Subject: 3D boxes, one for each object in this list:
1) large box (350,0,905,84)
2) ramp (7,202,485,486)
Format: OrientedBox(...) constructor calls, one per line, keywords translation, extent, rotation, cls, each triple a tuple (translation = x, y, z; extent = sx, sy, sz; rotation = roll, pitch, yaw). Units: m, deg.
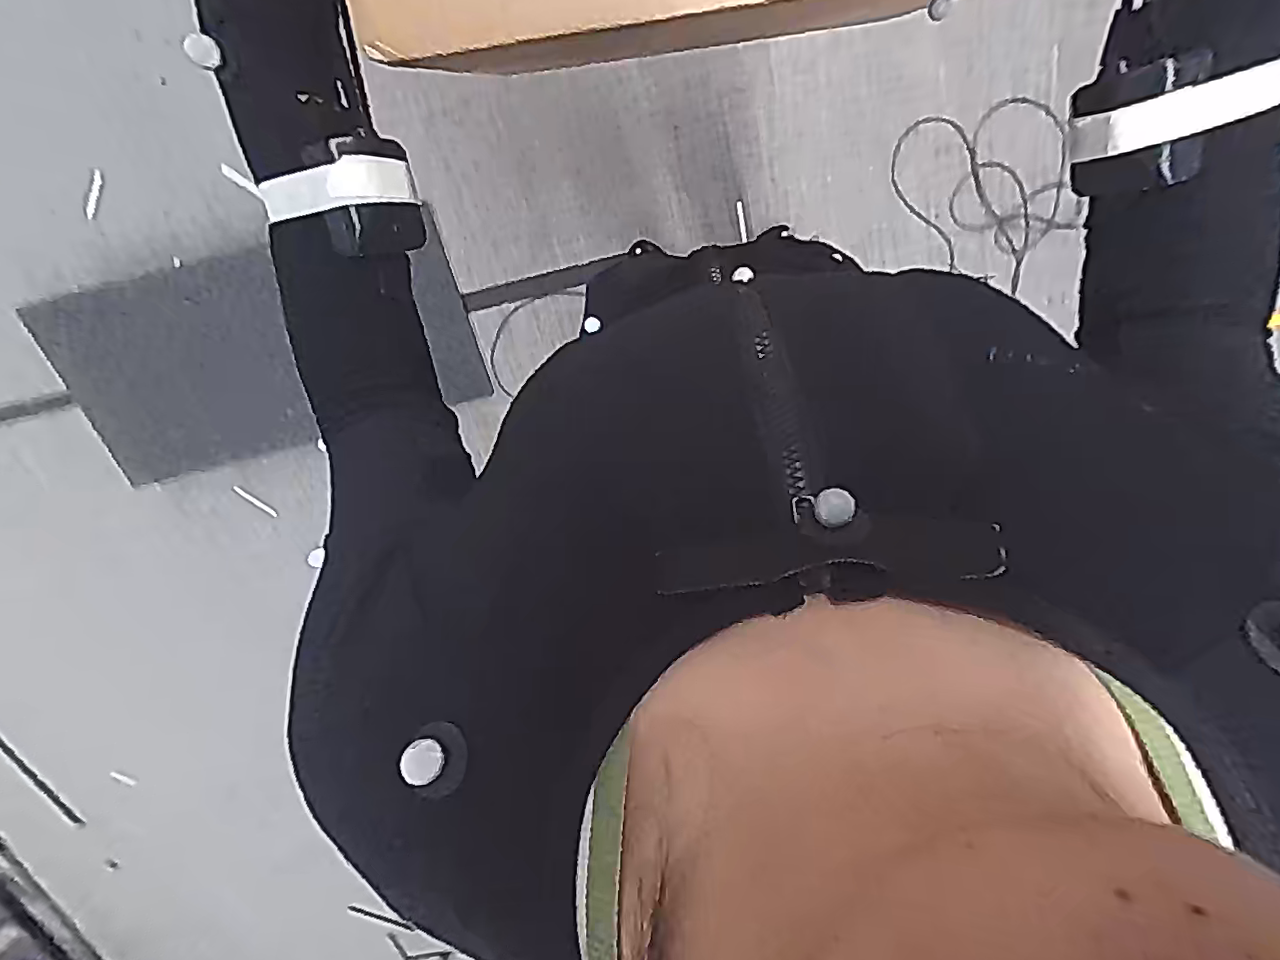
OrientedBox(translation=(0.024, -0.465, 0.331), extent=(0.408, 0.320, 0.320), rotation=(-6, 125, 5), cls="large box")
OrientedBox(translation=(-0.956, -0.332, 1.382), extent=(0.991, 0.206, 0.509), rotation=(-13, 112, 8), cls="ramp")
